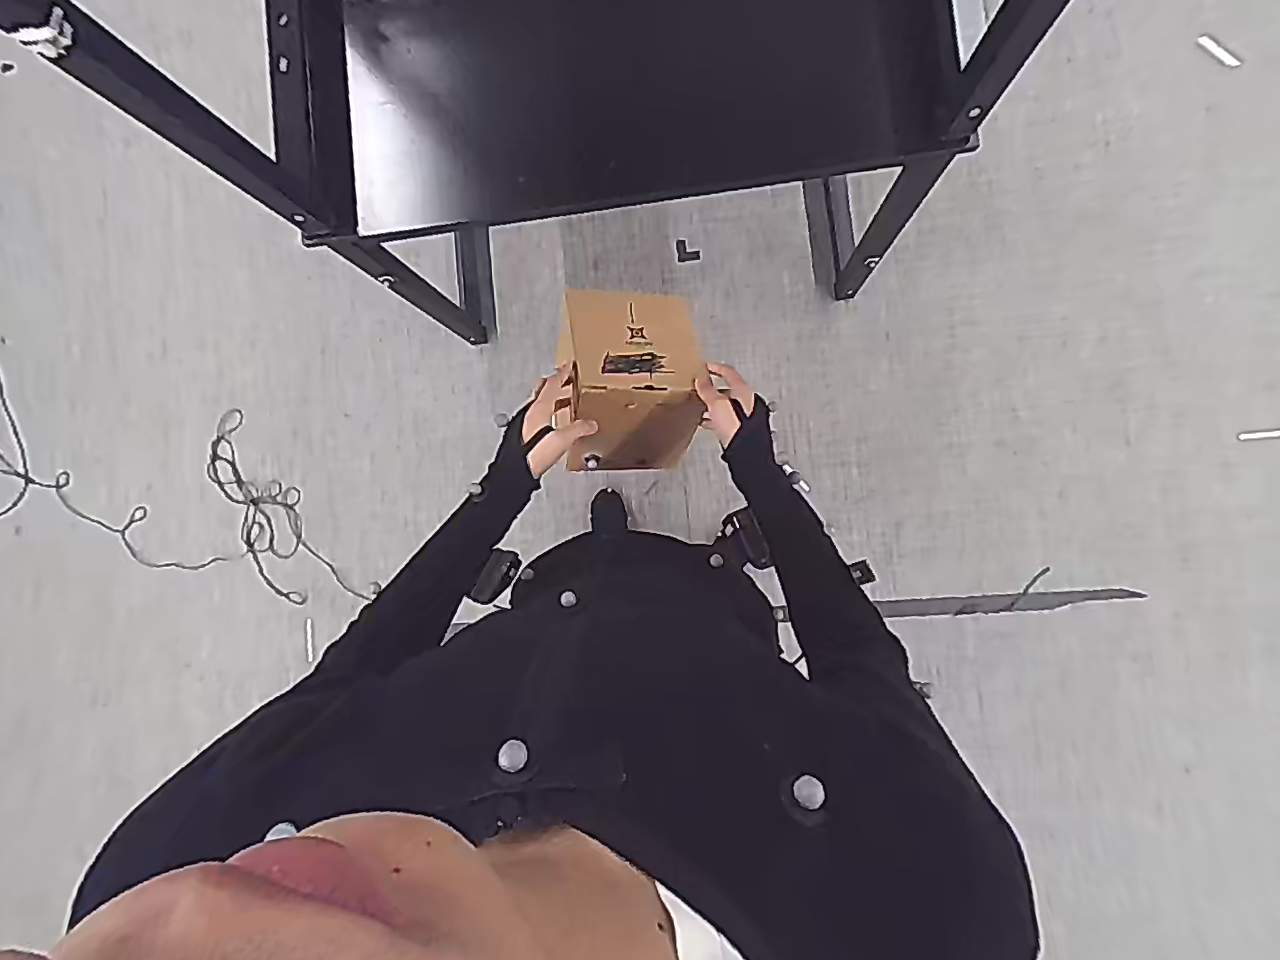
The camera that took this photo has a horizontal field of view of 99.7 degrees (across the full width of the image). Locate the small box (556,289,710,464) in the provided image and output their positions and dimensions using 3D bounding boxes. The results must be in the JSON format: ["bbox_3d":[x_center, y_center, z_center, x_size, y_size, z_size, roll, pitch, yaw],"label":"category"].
[{"bbox_3d":[-0.022,-0.132,0.735,0.168,0.176,0.179,-3,57,-15],"label":"small box"}]
